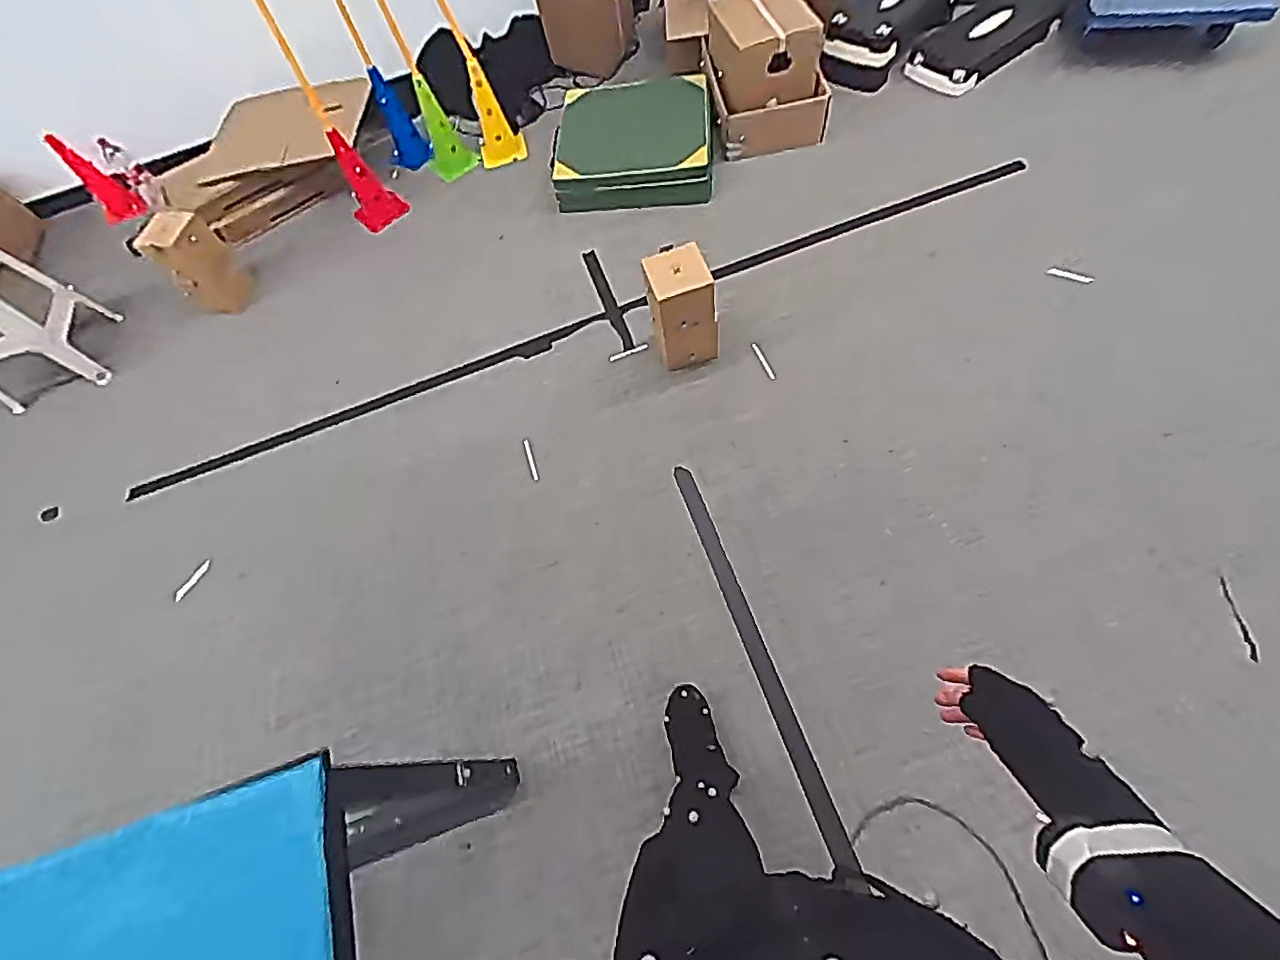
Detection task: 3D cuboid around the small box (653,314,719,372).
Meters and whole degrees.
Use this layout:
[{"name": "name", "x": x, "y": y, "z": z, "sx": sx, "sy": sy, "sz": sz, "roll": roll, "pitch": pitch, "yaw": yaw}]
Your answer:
[{"name": "small box", "x": 0.143, "y": -0.476, "z": 1.736, "sx": 0.179, "sy": 0.176, "sz": 0.168, "roll": -17, "pitch": 62, "yaw": -2}]

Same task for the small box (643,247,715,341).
[{"name": "small box", "x": 0.115, "y": -0.542, "z": 1.590, "sx": 0.168, "sy": 0.176, "sz": 0.179, "roll": -18, "pitch": 63, "yaw": 0}]
